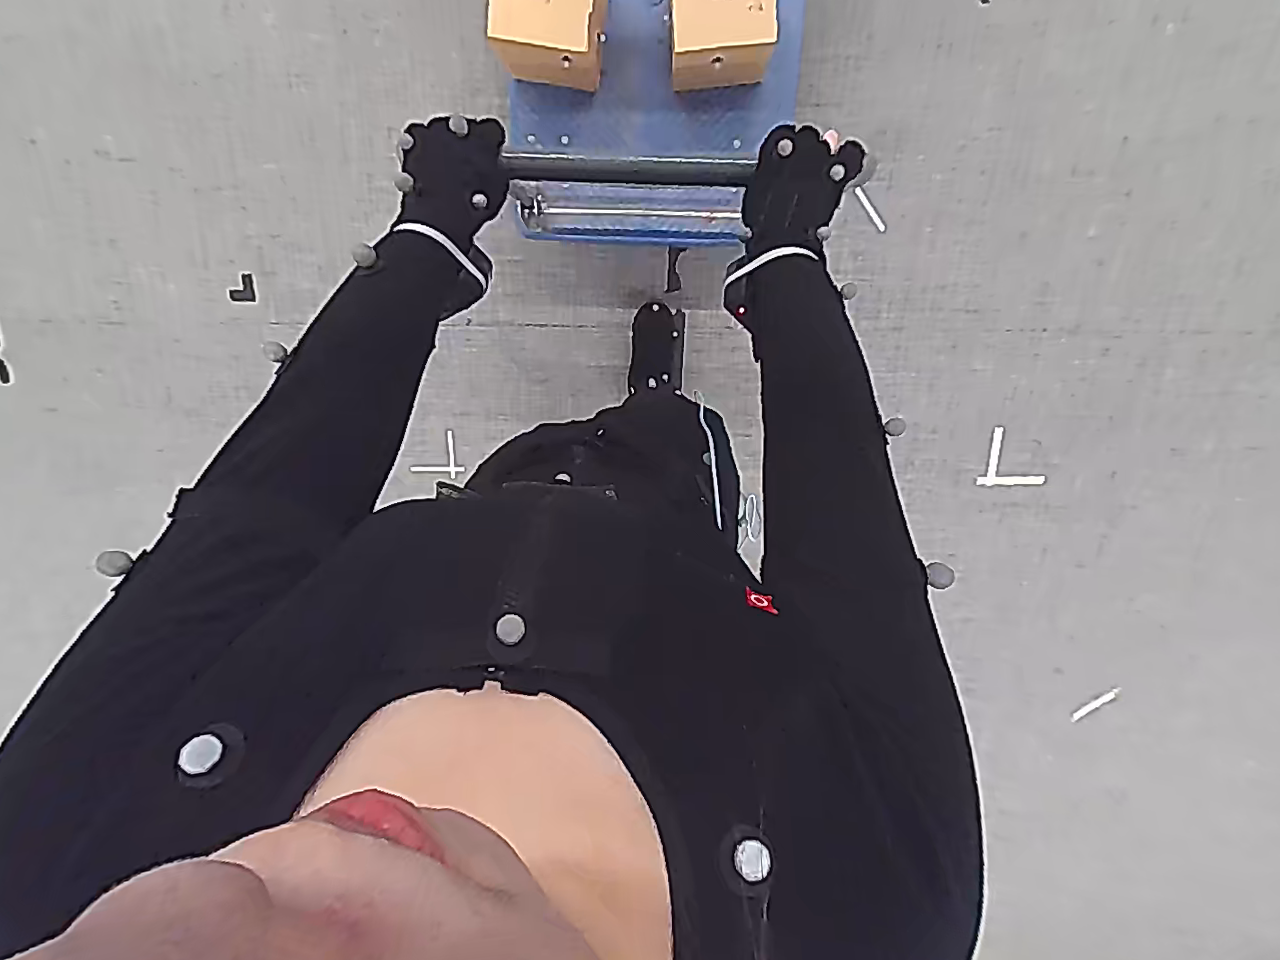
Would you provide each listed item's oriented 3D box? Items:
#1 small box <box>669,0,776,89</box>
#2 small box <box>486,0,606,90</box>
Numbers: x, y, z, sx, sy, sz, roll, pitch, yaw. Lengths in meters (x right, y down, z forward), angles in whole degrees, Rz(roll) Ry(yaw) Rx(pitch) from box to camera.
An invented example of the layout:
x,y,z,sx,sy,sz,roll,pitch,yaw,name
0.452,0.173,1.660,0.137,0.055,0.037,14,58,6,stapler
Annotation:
x,y,z,sx,sy,sz,roll,pitch,yaw,name
0.141,-0.825,0.960,0.179,0.176,0.168,-3,107,4,small box
-0.164,-0.836,0.973,0.179,0.176,0.168,8,107,-1,small box
